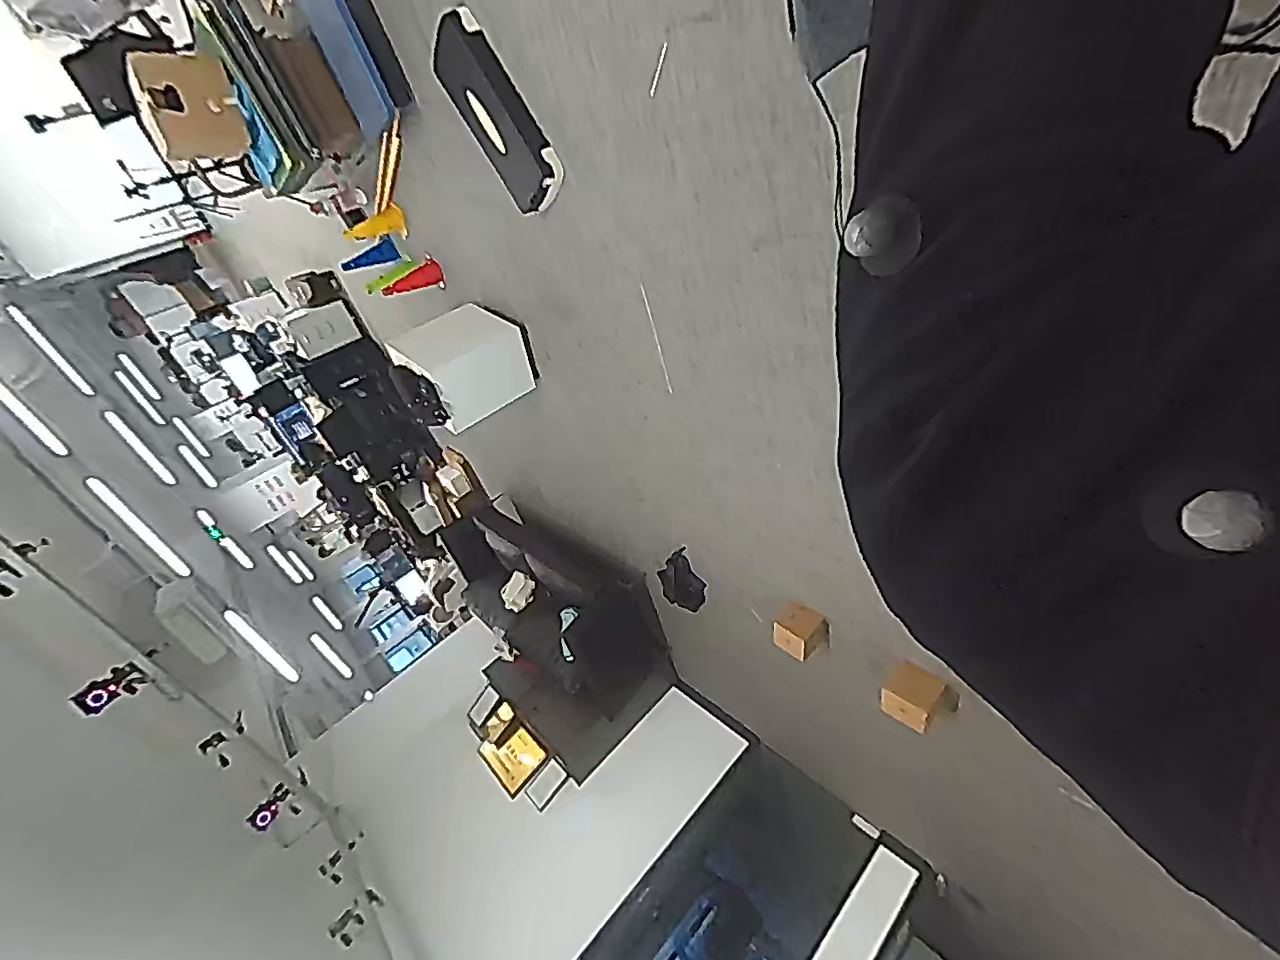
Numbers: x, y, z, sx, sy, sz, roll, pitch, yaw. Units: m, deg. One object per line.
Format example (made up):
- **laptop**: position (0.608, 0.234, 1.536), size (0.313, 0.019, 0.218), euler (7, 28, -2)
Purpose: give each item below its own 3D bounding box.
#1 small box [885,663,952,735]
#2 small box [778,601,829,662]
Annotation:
- **small box**: position (1.106, 0.861, 2.152), size (0.179, 0.176, 0.168), euler (24, 142, 43)
- **small box**: position (0.760, 0.699, 2.510), size (0.168, 0.176, 0.179), euler (29, 146, 41)
